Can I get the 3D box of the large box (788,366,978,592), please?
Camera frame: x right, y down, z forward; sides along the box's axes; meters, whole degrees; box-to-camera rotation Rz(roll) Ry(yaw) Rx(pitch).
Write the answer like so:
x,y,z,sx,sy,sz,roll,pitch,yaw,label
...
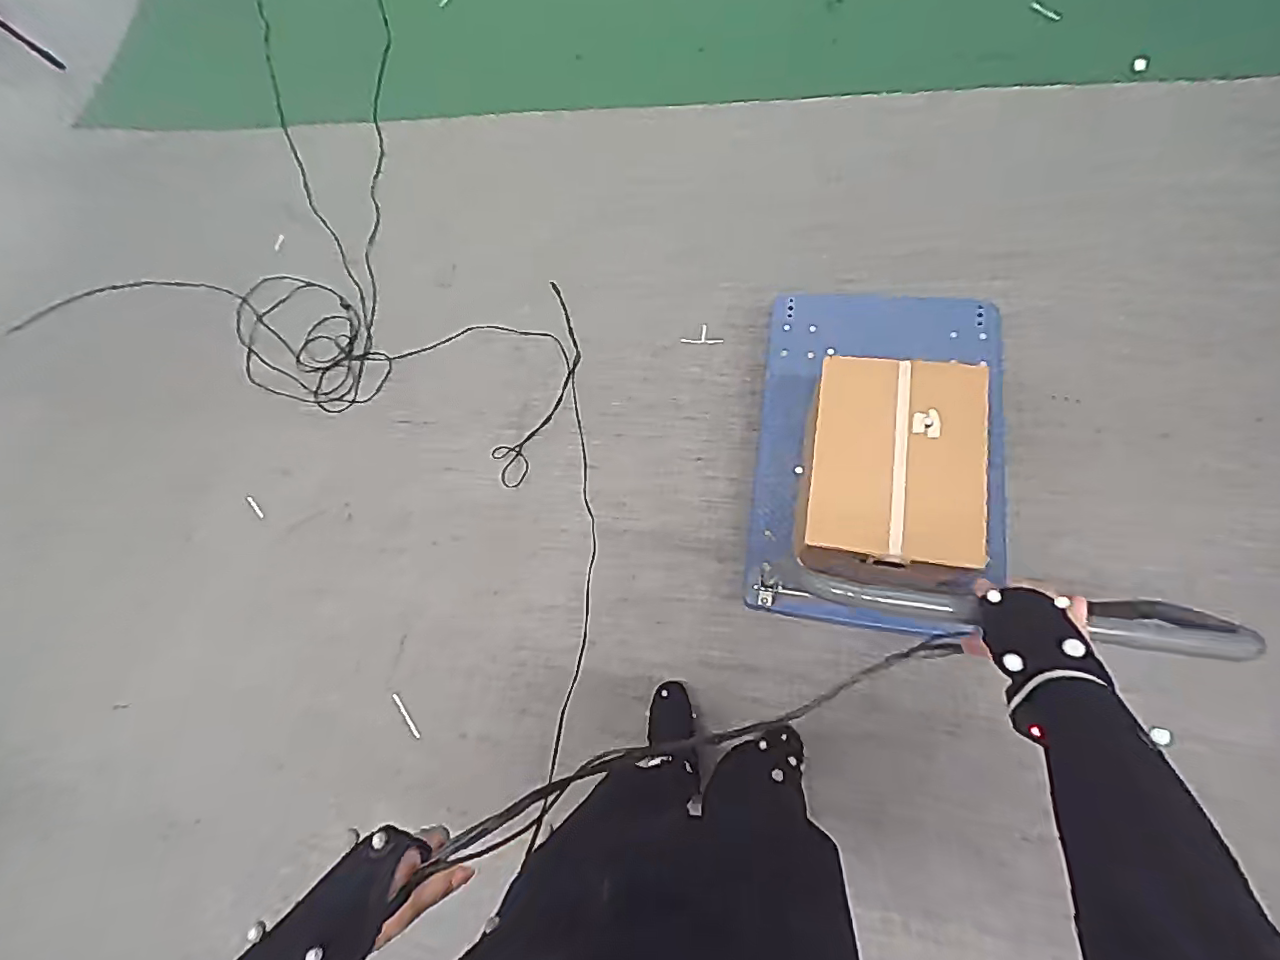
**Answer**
x,y,z,sx,sy,sz,roll,pitch,yaw,label
0.510,0.011,1.187,0.320,0.320,0.408,8,74,11,large box
